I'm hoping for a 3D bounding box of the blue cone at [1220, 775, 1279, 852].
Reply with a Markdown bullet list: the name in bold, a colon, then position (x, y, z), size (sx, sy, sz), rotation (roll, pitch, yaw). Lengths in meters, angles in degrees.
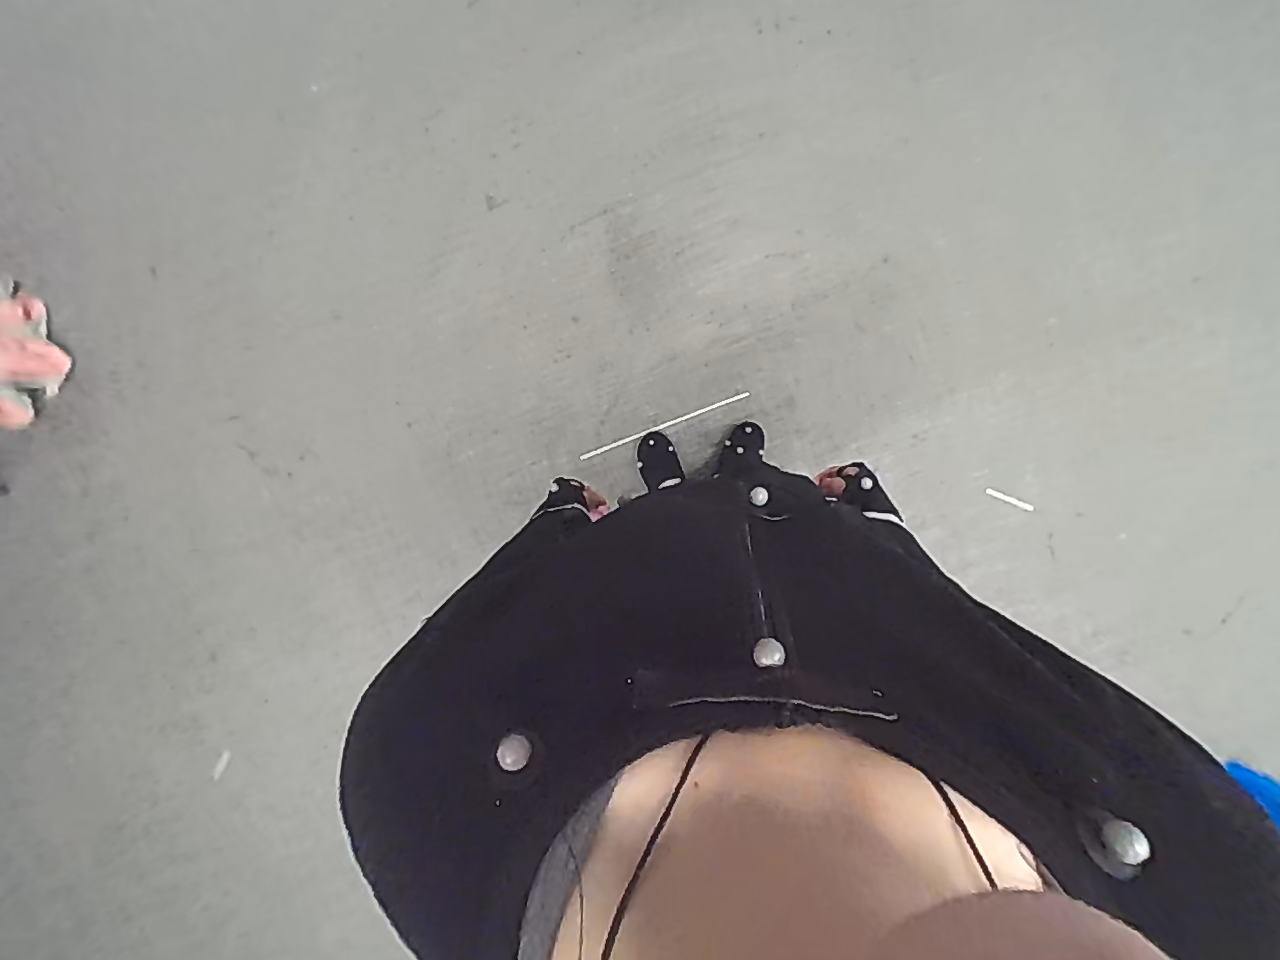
- **blue cone**: position (1.741, 0.945, 1.356), size (0.192, 0.380, 0.193), rotation (24, 94, 0)
